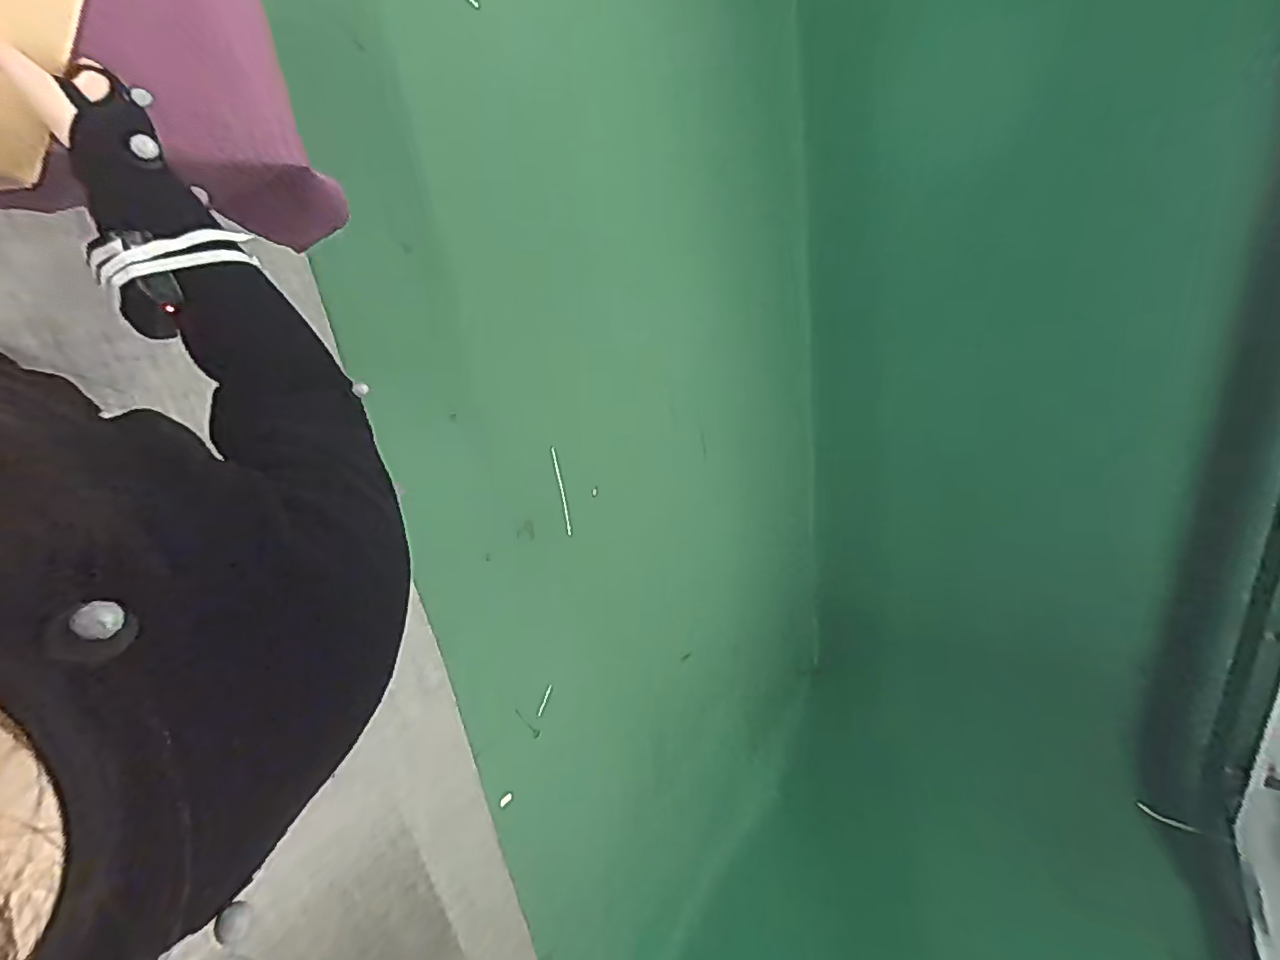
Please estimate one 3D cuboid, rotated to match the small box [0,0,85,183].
[{"bbox_3d":[-0.549,-0.342,0.392,0.168,0.176,0.179,12,94,-57],"label":"small box"}]
